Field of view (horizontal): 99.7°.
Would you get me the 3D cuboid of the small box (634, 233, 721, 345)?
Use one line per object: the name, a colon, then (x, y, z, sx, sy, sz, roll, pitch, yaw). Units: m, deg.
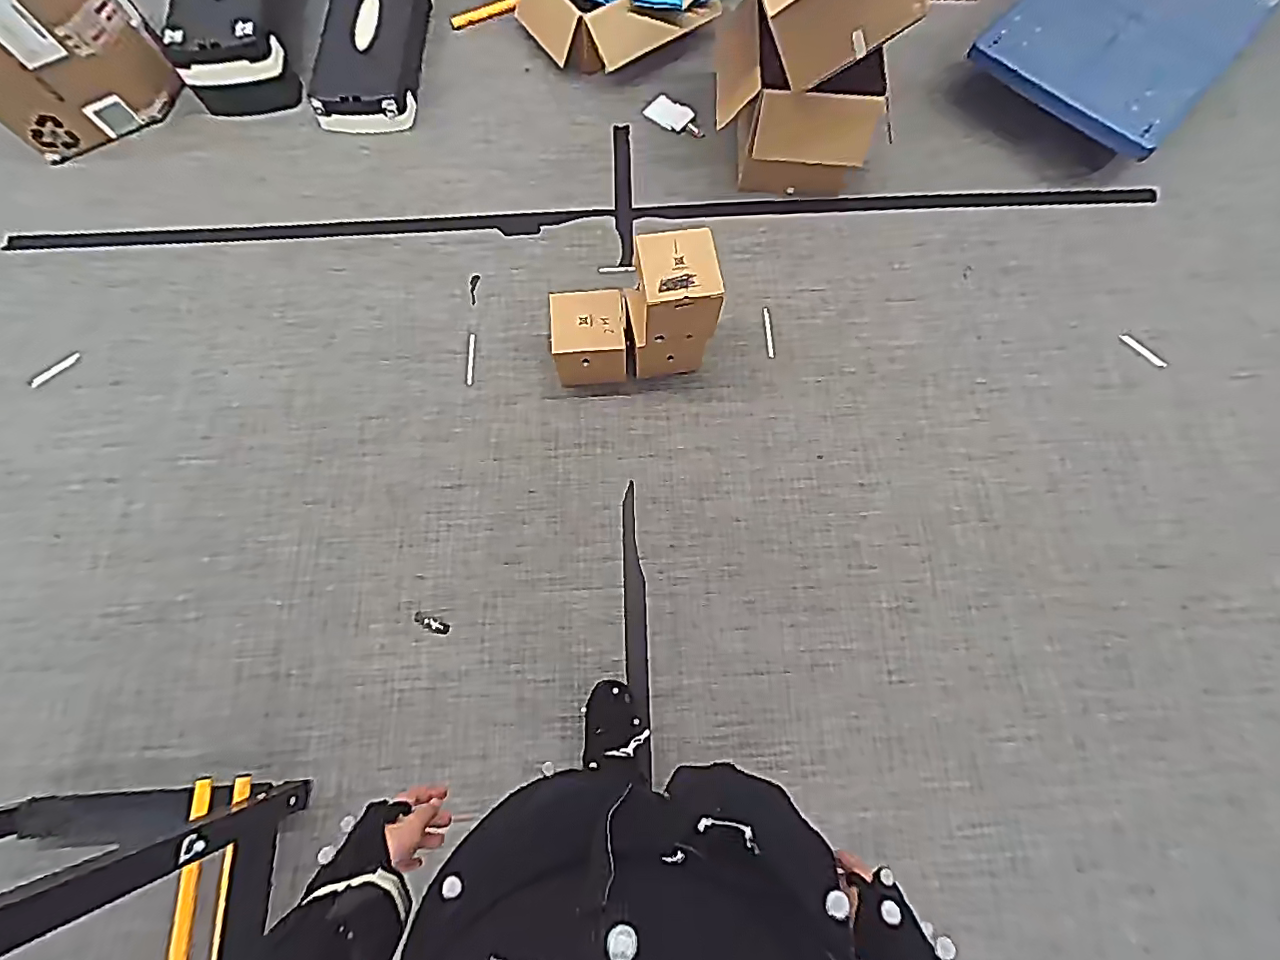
small box: (0.078, -0.420, 1.218, 0.168, 0.176, 0.179, -8, 72, -3)
